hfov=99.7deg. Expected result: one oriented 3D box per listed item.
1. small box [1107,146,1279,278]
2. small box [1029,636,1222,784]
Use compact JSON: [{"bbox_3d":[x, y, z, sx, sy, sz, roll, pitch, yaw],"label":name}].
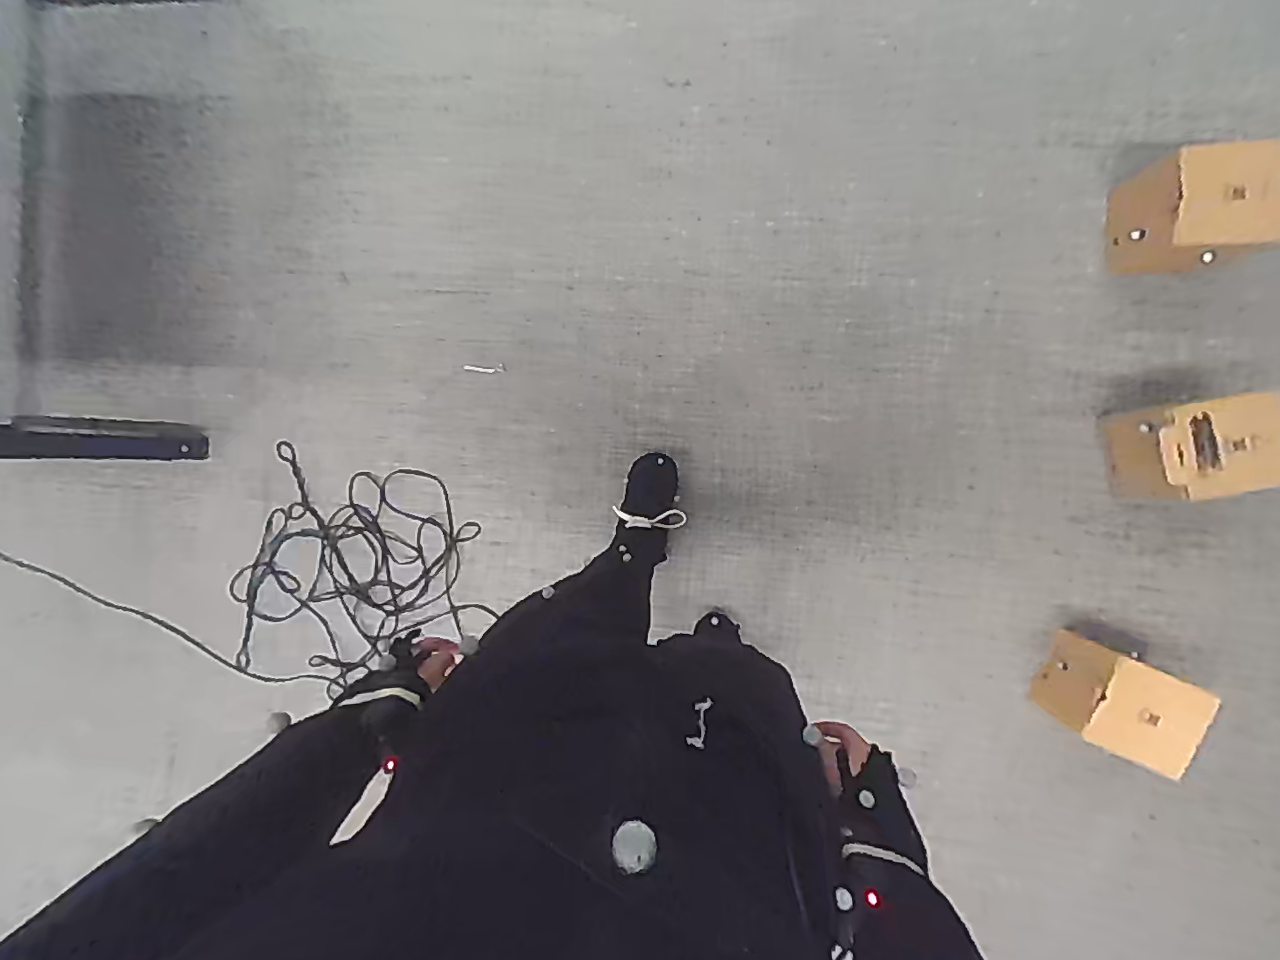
[{"bbox_3d":[0.998,-0.473,0.979,0.179,0.176,0.168,1,93,6],"label":"small box"},{"bbox_3d":[0.894,0.417,1.015,0.179,0.176,0.168,23,94,6],"label":"small box"}]
